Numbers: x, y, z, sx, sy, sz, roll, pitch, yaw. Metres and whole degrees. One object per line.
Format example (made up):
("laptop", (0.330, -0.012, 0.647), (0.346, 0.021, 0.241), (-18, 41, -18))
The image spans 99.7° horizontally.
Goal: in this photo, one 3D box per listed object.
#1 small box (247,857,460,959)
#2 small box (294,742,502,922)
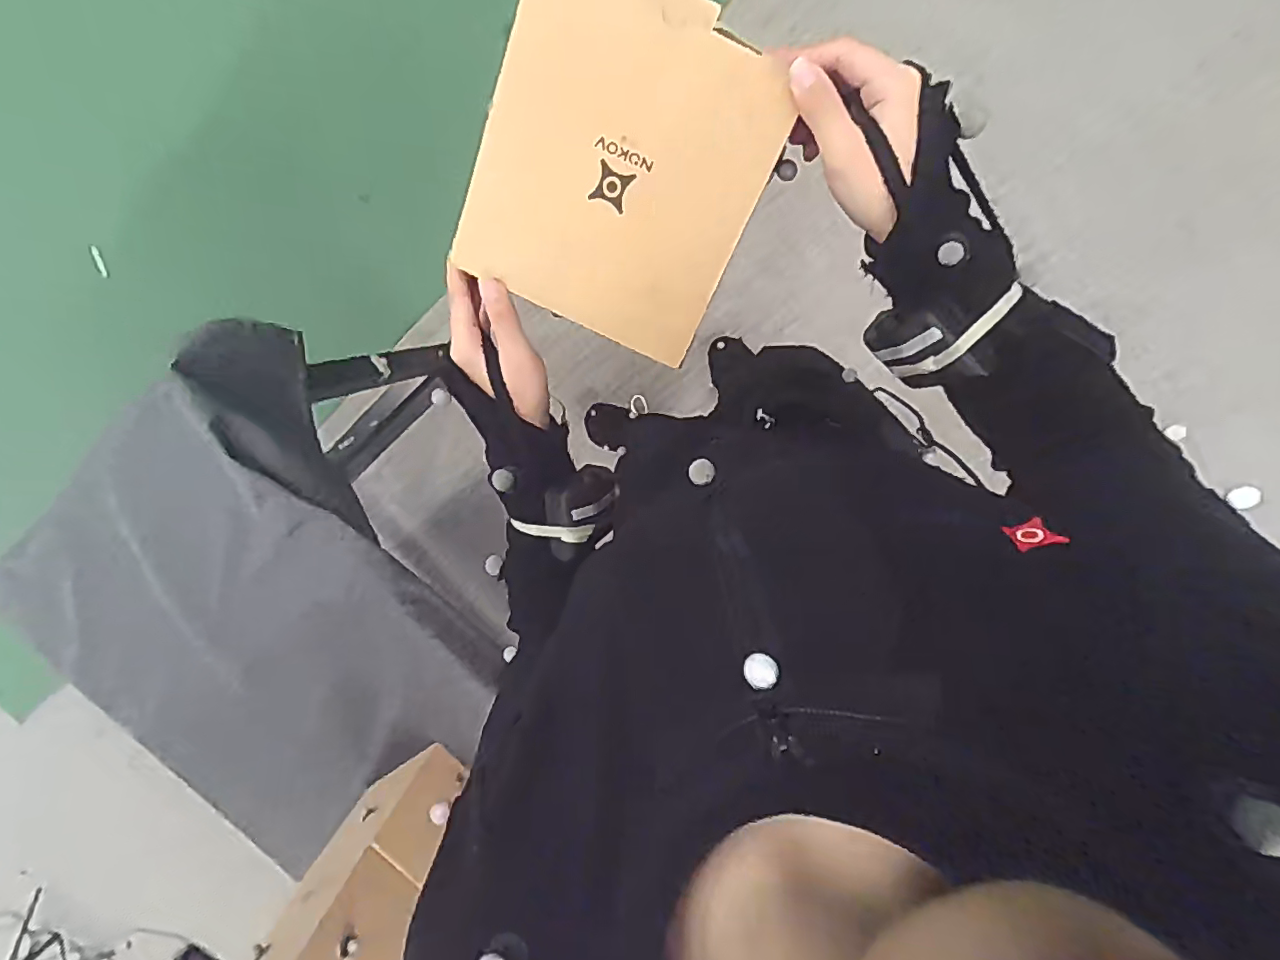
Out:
("small box", (-0.350, 0.577, 0.624), (0.168, 0.176, 0.179), (-39, 100, 19))
("small box", (-0.332, 0.523, 0.776), (0.179, 0.176, 0.168), (-38, 99, 17))
